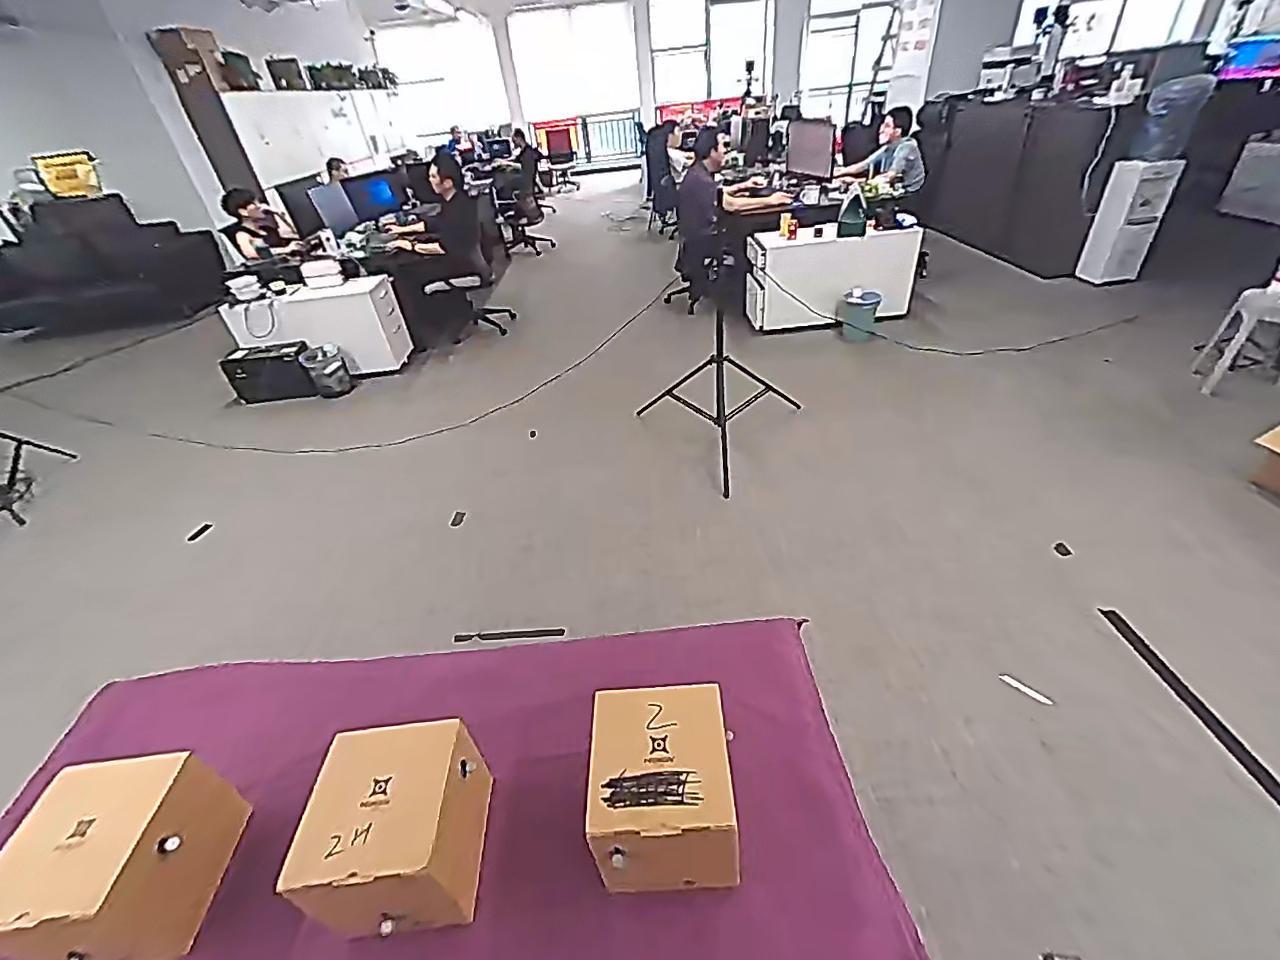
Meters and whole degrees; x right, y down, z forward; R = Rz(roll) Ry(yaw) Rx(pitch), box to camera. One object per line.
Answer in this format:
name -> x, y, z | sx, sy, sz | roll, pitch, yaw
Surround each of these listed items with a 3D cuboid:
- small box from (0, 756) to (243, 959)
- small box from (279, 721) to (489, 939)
small box -> -0.650, 0.483, 0.681 | 0.168, 0.176, 0.179 | -7, 37, -1
small box -> -0.300, 0.438, 0.683 | 0.168, 0.176, 0.179 | -7, 36, 0
